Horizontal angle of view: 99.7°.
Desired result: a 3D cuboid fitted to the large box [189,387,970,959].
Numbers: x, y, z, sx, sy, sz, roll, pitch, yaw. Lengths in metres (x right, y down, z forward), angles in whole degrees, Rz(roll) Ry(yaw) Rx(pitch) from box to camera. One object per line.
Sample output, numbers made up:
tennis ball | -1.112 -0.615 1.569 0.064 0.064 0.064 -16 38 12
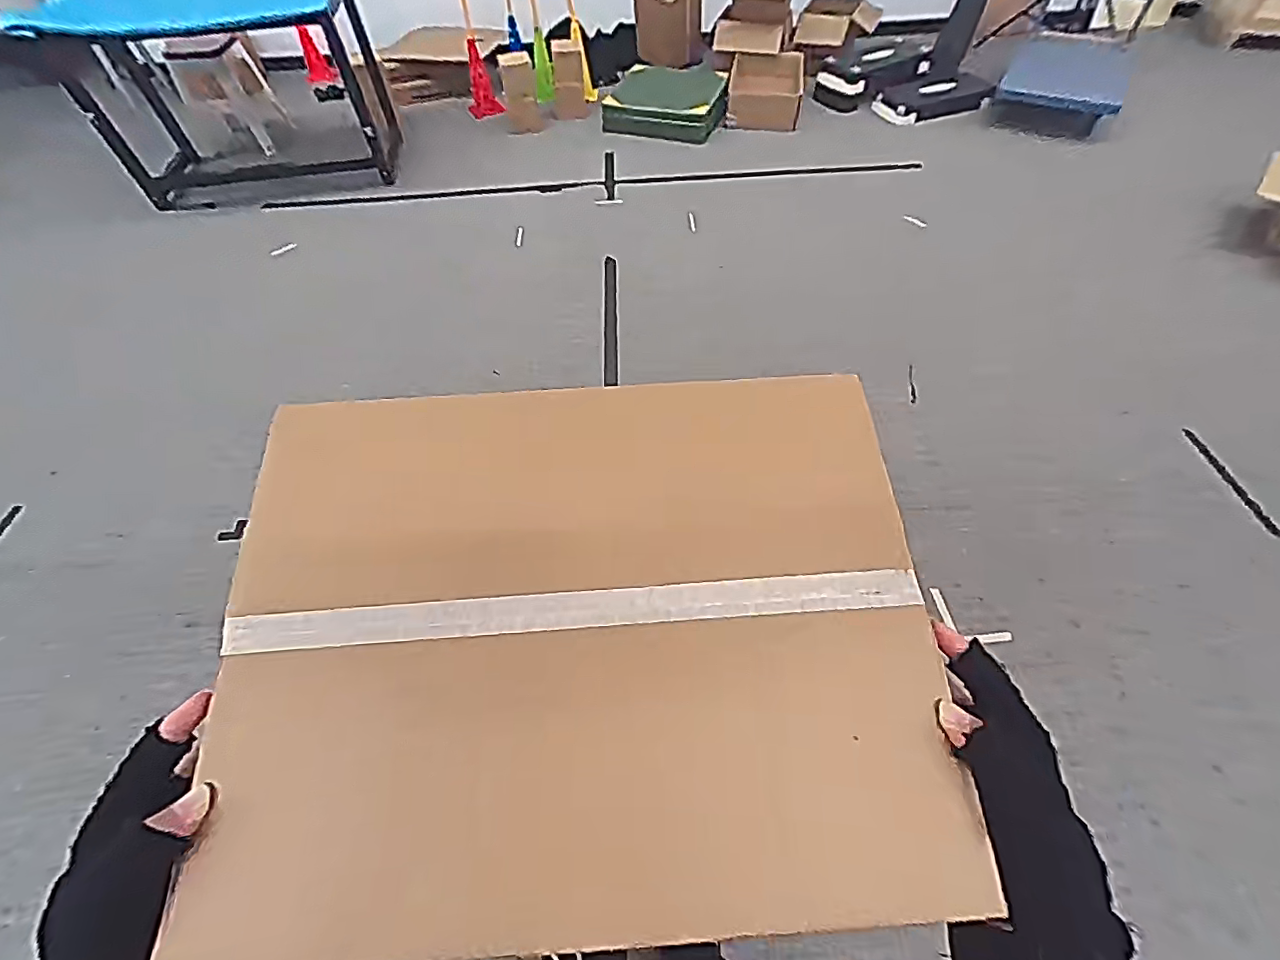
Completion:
large box | -0.038 0.145 0.467 0.408 0.320 0.320 -3 67 -2
